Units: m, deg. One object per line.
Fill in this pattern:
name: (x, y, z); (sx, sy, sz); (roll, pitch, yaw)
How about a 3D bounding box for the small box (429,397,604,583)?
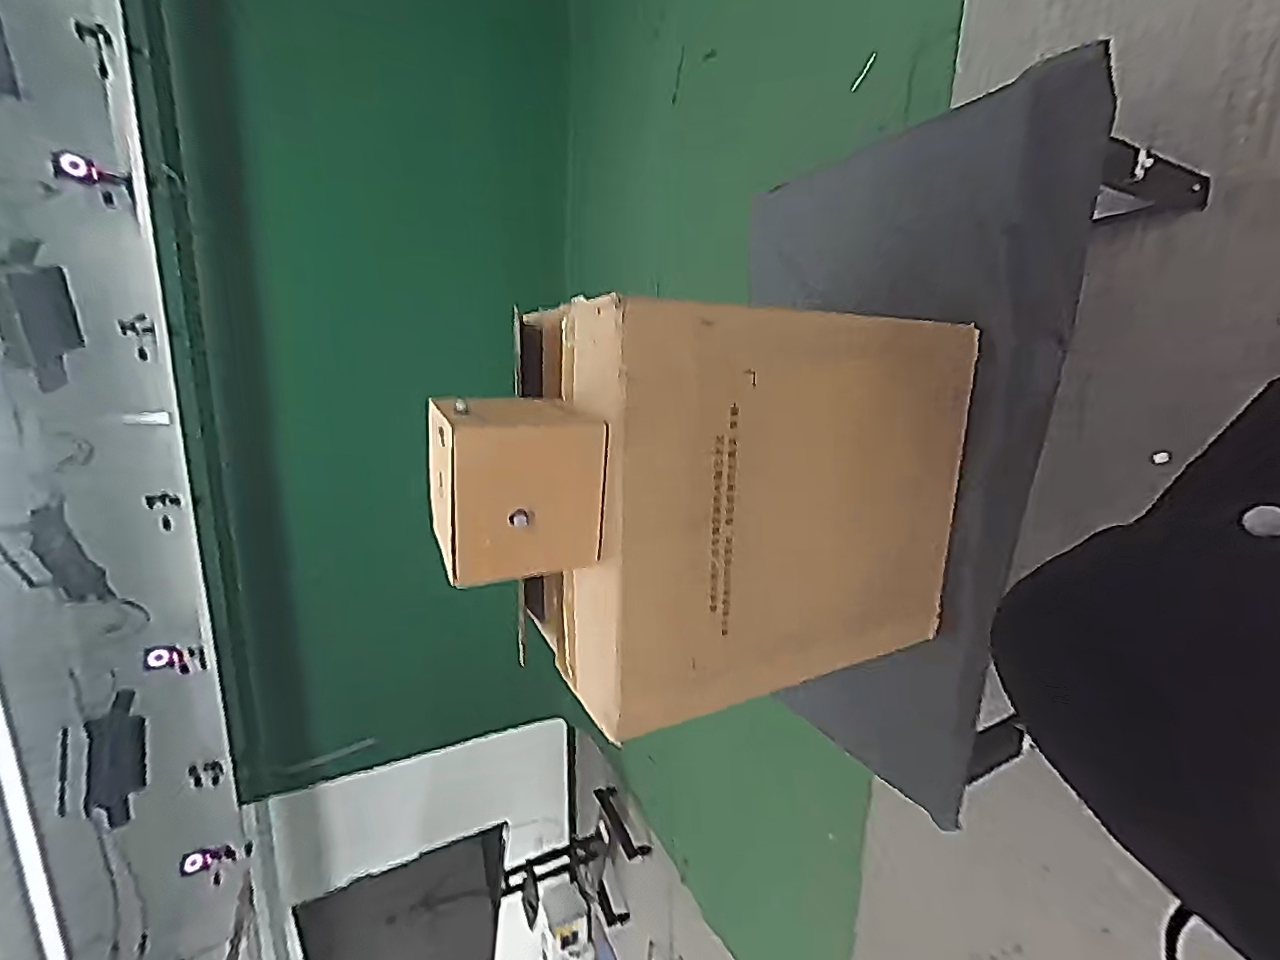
small box: (-0.151, -0.001, 0.655); (0.168, 0.176, 0.179); (31, 122, 56)
